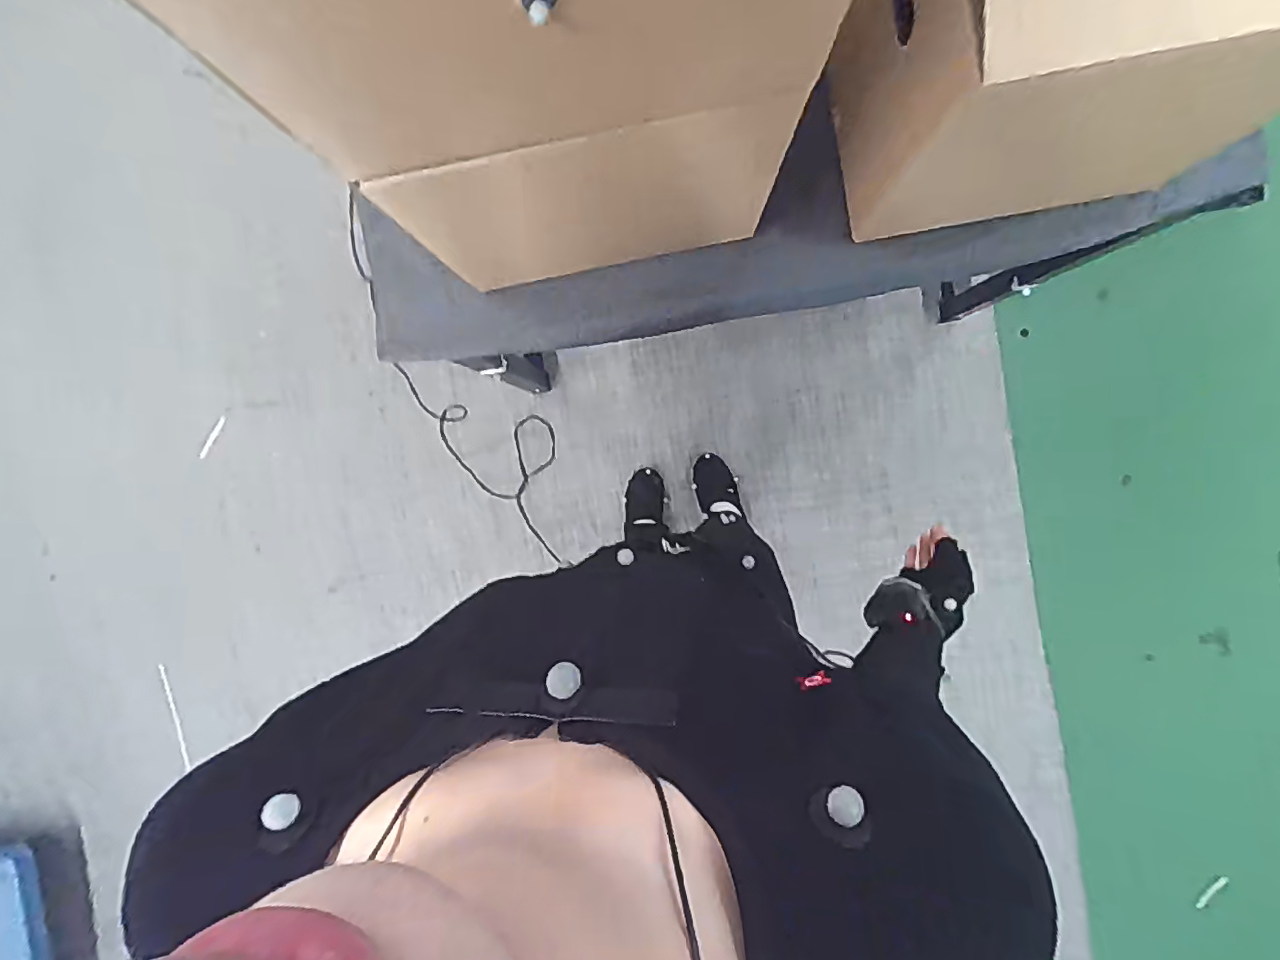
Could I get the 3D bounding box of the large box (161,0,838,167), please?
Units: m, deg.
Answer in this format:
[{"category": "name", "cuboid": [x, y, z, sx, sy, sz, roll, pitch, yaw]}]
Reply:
[{"category": "large box", "cuboid": [-0.084, -0.438, 0.297, 0.408, 0.320, 0.320, -10, 93, 3]}]
